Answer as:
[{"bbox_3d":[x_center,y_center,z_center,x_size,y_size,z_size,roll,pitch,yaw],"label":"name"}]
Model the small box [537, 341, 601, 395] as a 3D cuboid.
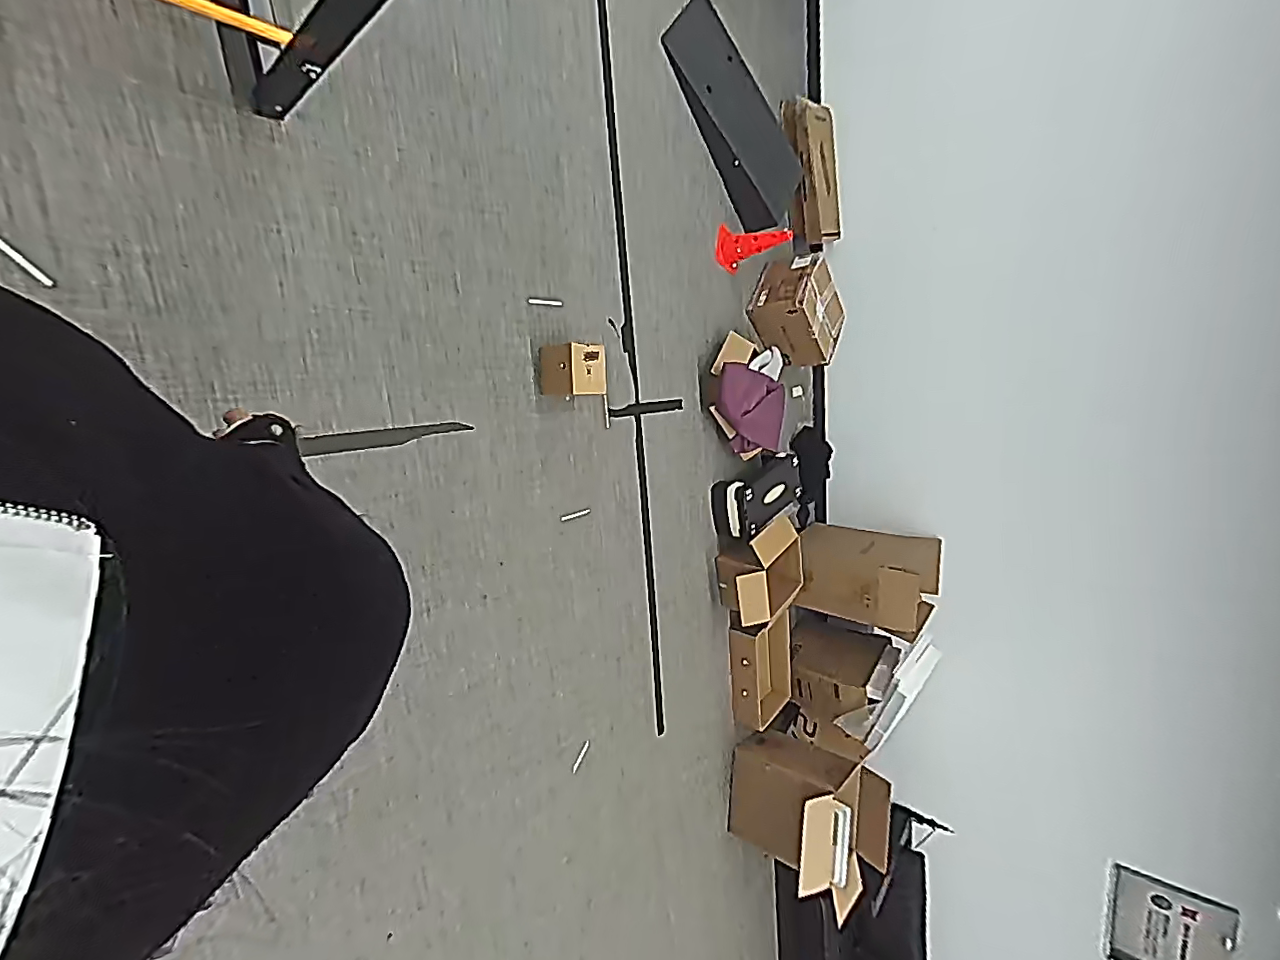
[{"bbox_3d":[-0.257,-0.397,1.945,0.168,0.176,0.179,-11,103,-49],"label":"small box"}]
